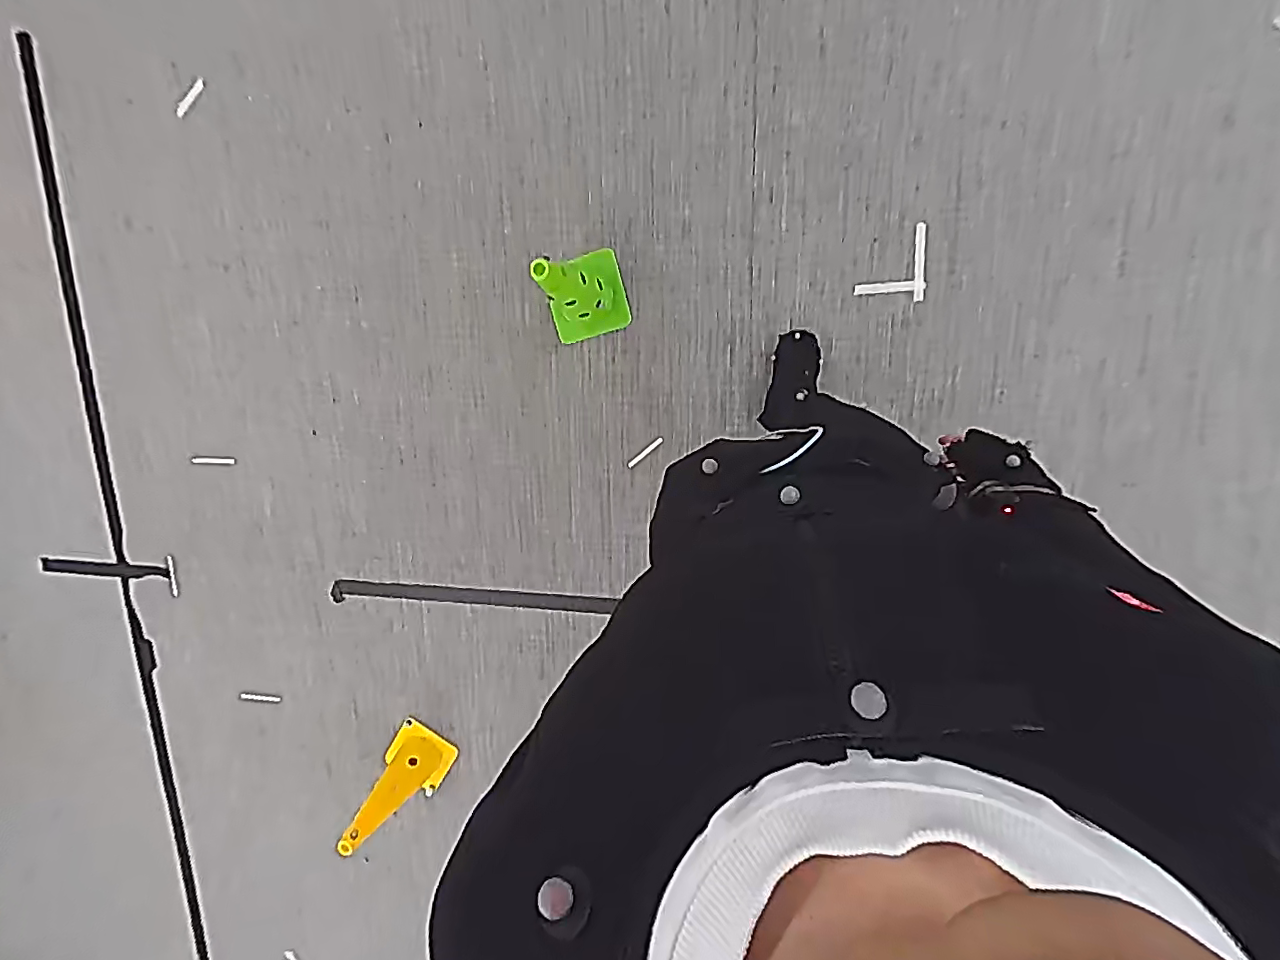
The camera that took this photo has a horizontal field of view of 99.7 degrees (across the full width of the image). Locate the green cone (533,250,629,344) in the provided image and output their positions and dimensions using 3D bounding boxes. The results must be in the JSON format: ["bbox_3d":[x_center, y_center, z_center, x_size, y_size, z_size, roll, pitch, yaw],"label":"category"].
[{"bbox_3d":[-0.169,-0.438,1.226,0.202,0.368,0.200,-15,98,11],"label":"green cone"}]

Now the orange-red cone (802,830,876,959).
[{"bbox_3d":[0.537,1.126,1.383,0.199,0.360,0.198,1,99,11],"label":"orange-red cone"}]
